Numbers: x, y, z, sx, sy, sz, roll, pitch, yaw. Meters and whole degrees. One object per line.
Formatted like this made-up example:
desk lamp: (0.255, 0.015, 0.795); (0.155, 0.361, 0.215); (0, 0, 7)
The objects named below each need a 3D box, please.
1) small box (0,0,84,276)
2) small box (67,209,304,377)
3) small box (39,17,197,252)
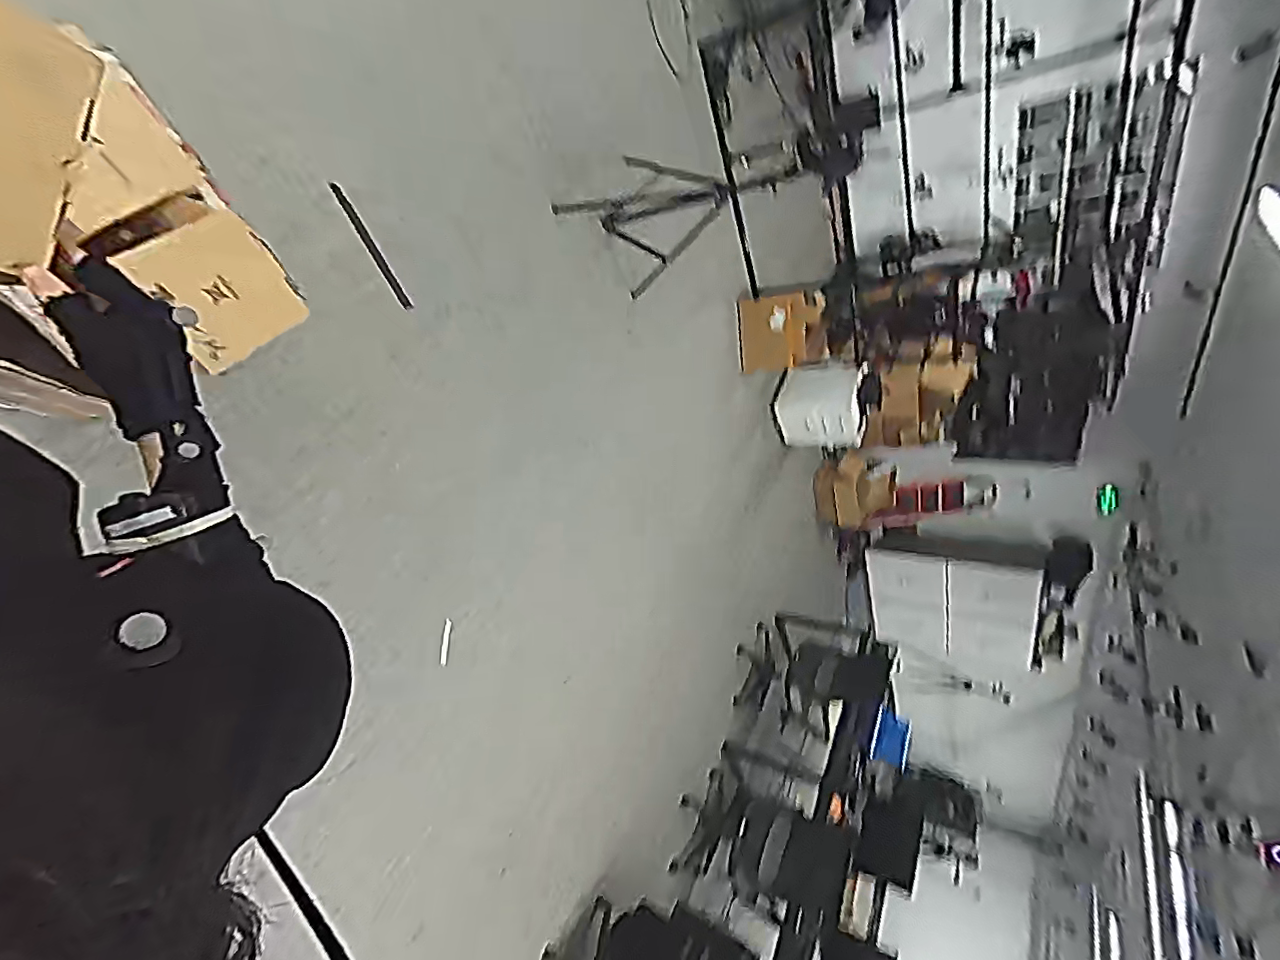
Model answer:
small box: (-0.500, -0.240, 0.326); (0.179, 0.176, 0.168); (14, 87, -61)
small box: (-0.647, -0.264, 0.778); (0.179, 0.176, 0.168); (-58, 139, -38)
small box: (-0.715, -0.409, 0.660); (0.168, 0.176, 0.179); (-59, 137, -35)
